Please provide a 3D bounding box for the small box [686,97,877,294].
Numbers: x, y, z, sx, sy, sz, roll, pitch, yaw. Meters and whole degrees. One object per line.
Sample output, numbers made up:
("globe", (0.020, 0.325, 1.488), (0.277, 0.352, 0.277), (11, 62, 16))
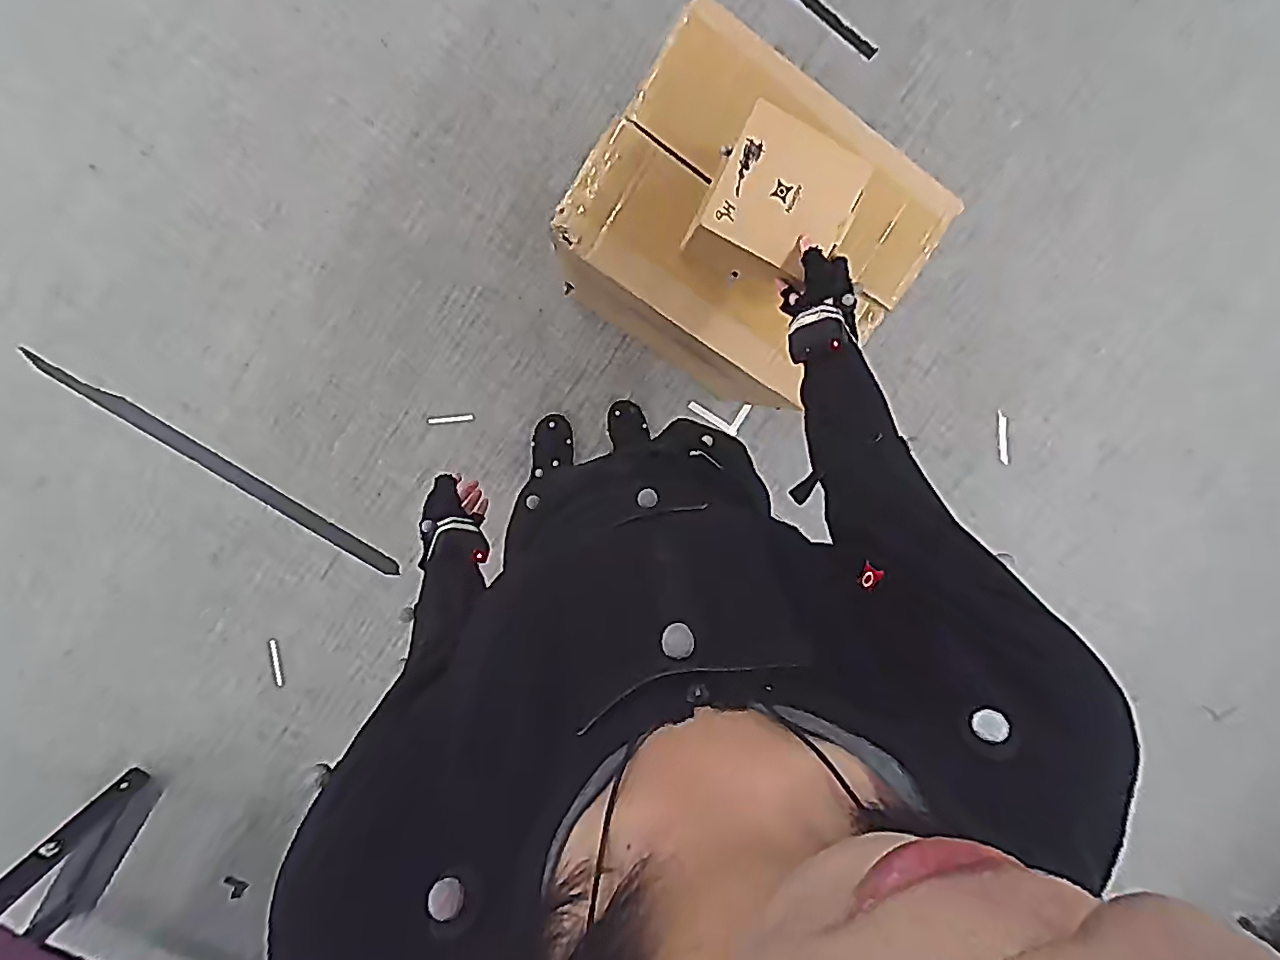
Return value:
("small box", (0.184, -0.378, 0.759), (0.179, 0.176, 0.168), (25, 99, -8))
